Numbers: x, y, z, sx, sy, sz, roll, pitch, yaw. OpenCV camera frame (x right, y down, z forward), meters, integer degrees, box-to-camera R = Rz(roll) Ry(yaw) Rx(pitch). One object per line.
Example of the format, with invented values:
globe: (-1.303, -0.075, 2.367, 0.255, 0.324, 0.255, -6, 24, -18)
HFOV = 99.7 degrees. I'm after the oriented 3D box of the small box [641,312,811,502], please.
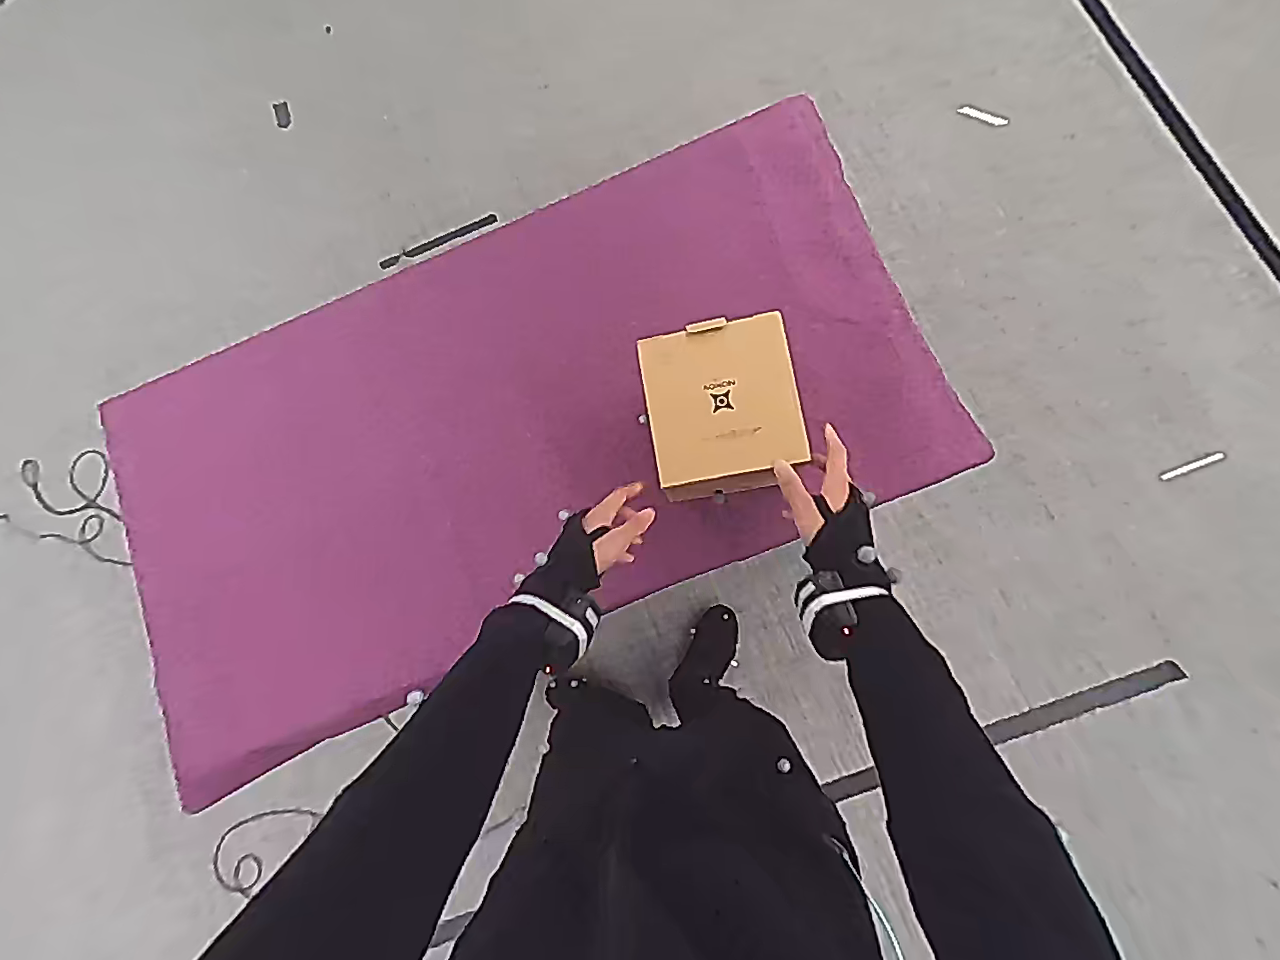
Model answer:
small box: (0.100, -0.077, 0.667, 0.168, 0.176, 0.179, -9, 81, 7)
